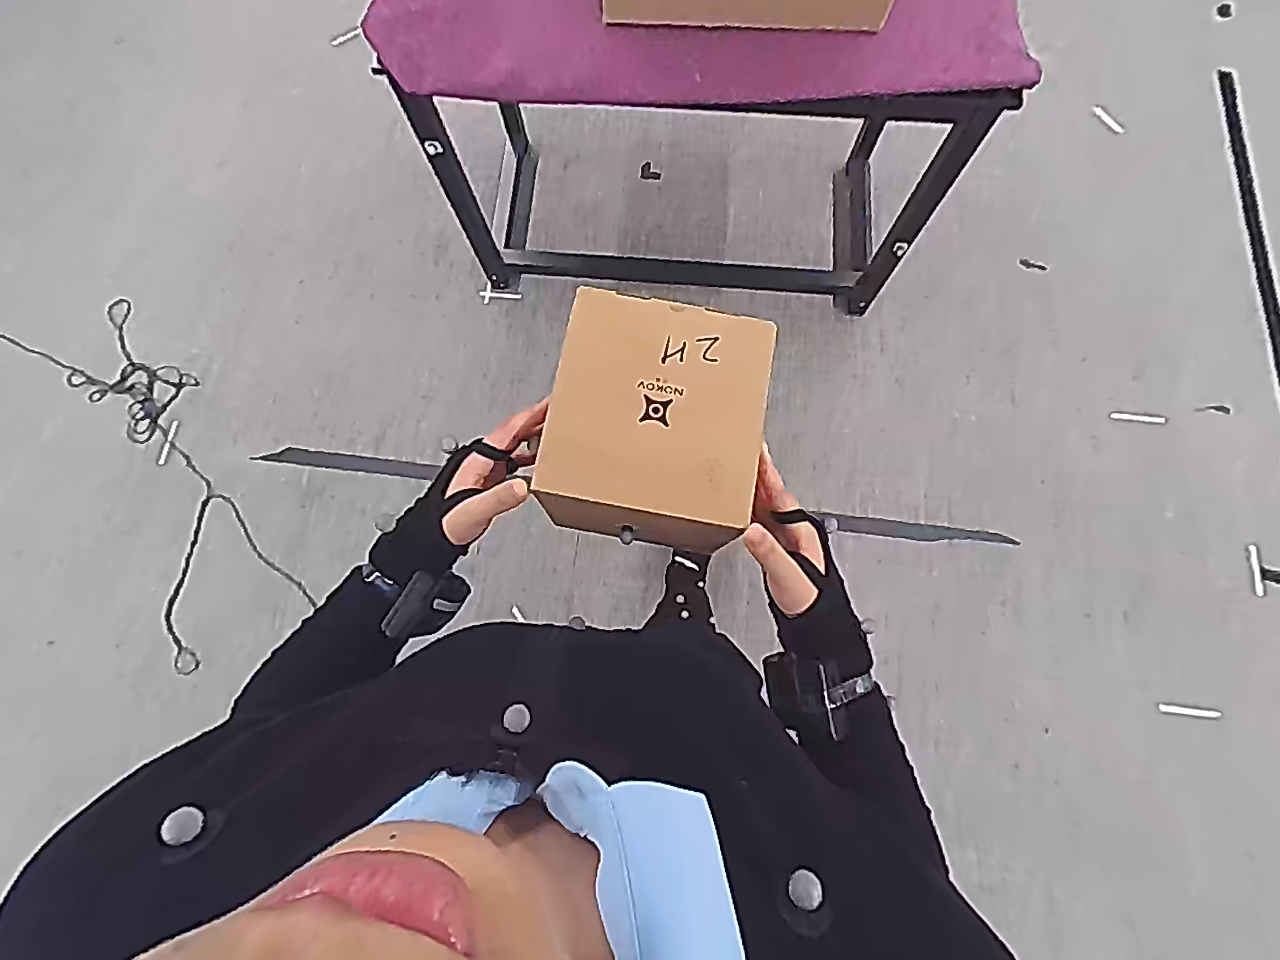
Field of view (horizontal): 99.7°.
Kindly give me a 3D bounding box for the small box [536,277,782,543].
[{"bbox_3d":[0.016,-0.047,0.489,0.168,0.176,0.179,10,75,0],"label":"small box"}]
